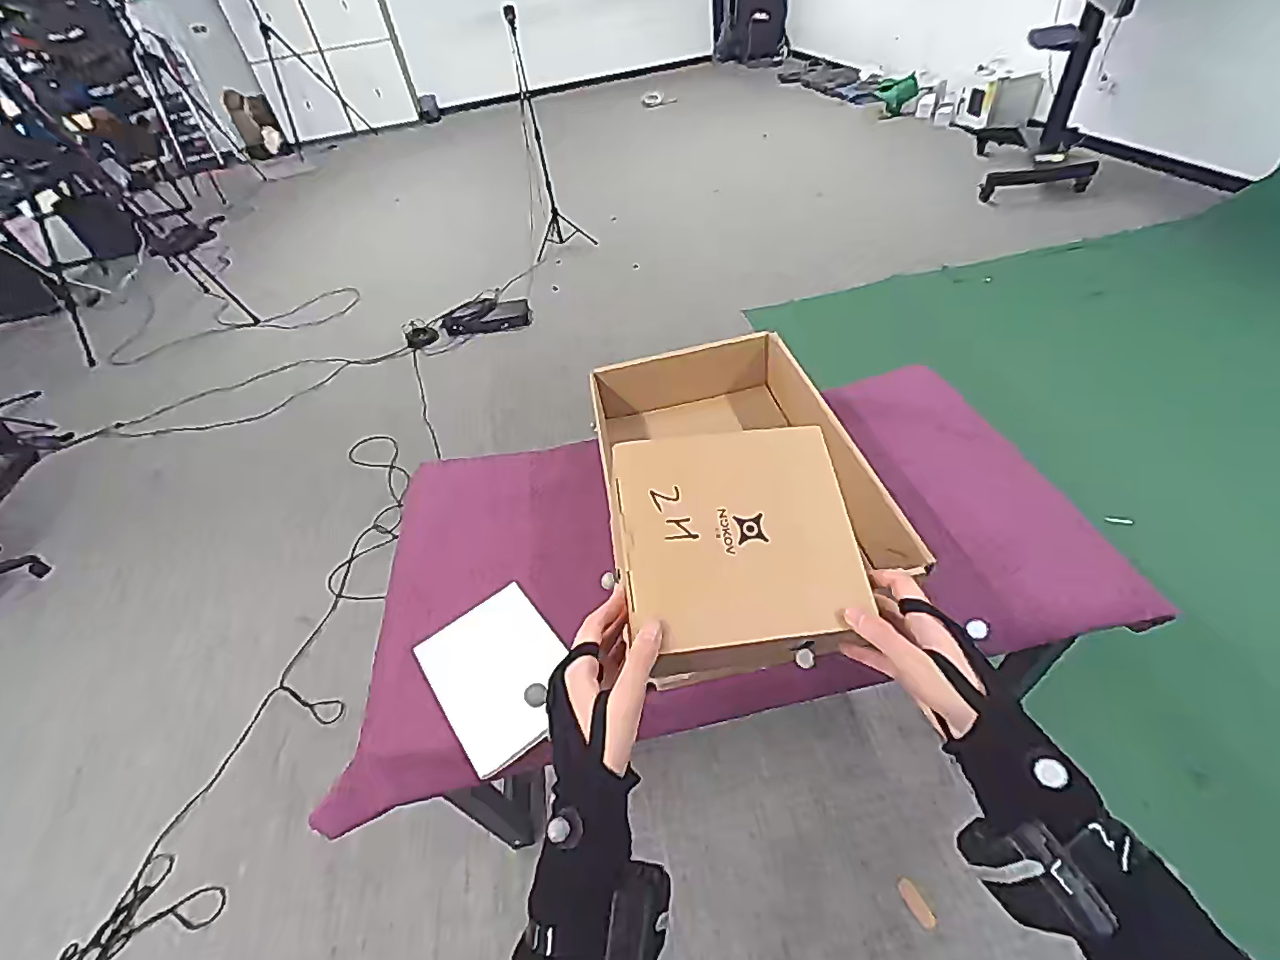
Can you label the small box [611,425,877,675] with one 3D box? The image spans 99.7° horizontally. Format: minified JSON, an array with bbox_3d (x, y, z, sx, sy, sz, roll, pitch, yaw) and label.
[{"bbox_3d":[0.068,0.069,0.474,0.179,0.176,0.168,-5,64,-5],"label":"small box"}]
